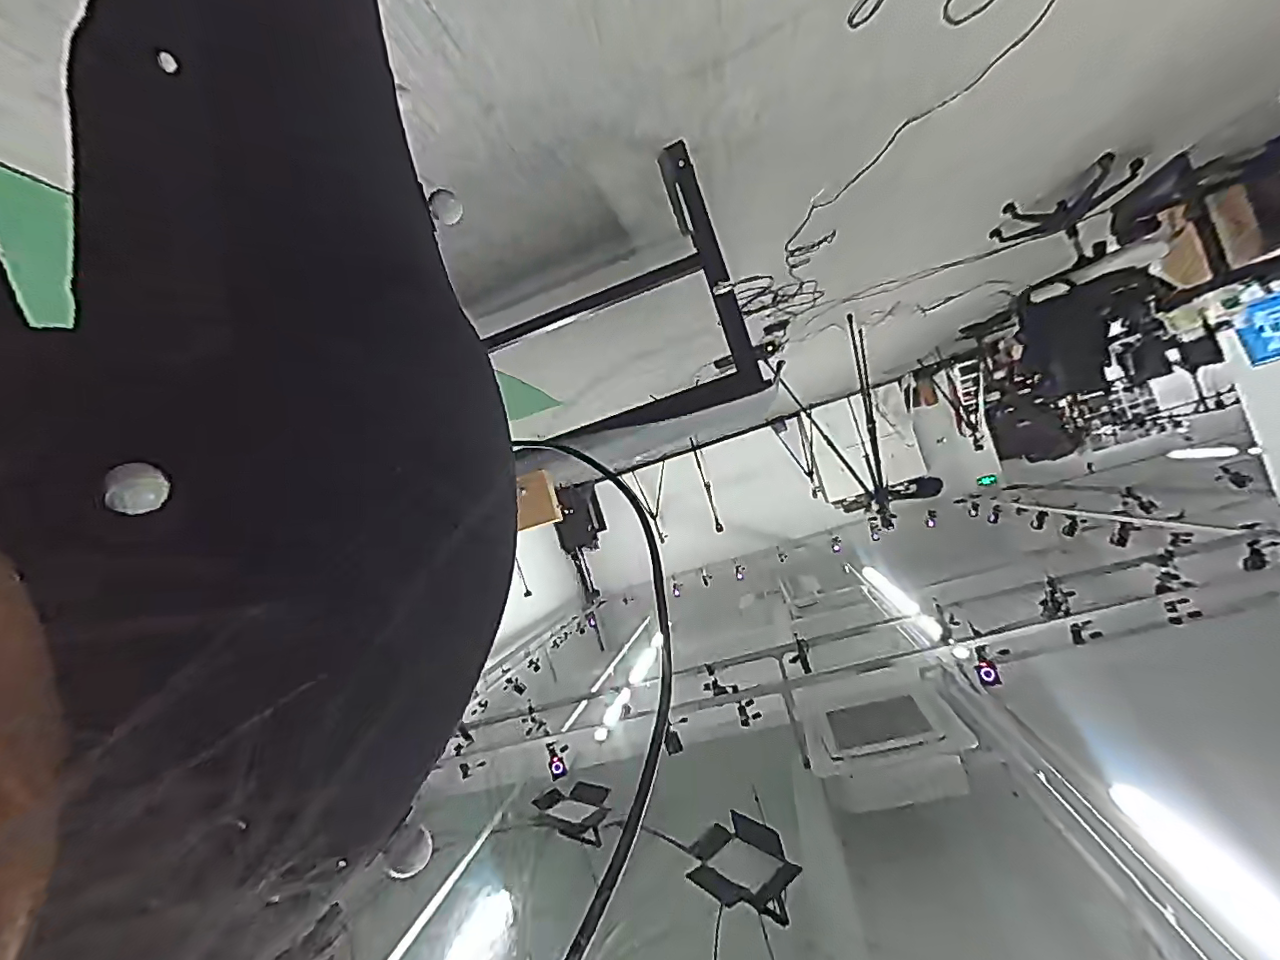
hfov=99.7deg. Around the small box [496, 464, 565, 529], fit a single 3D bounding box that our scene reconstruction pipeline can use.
[{"bbox_3d":[-0.351,0.053,1.752,0.168,0.176,0.179,-19,177,-4],"label":"small box"}]
